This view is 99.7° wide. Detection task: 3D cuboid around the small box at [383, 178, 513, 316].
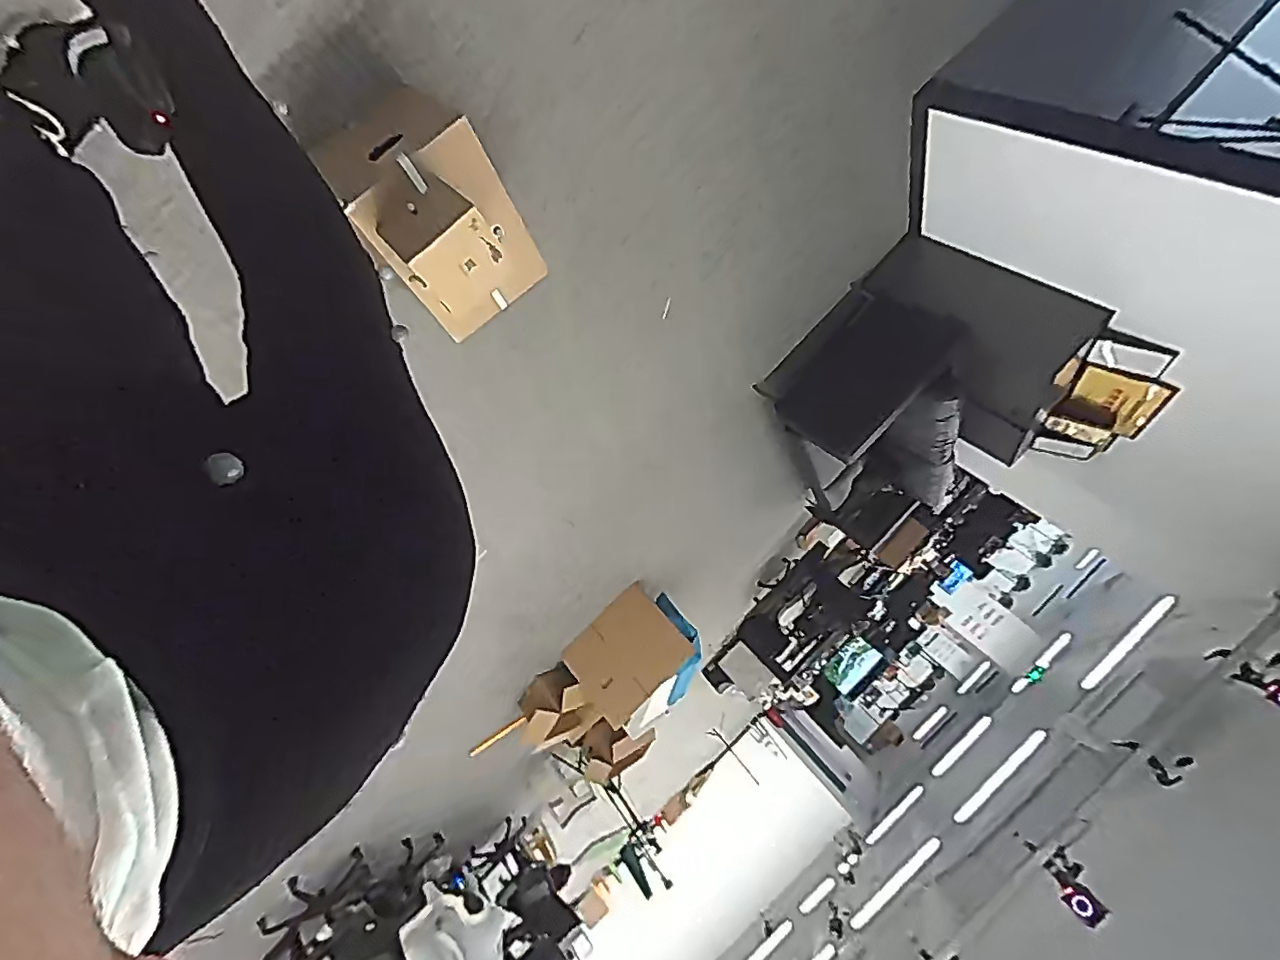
[{"bbox_3d":[-0.408,-0.487,1.132,0.179,0.176,0.168,-43,149,-3],"label":"small box"}]
